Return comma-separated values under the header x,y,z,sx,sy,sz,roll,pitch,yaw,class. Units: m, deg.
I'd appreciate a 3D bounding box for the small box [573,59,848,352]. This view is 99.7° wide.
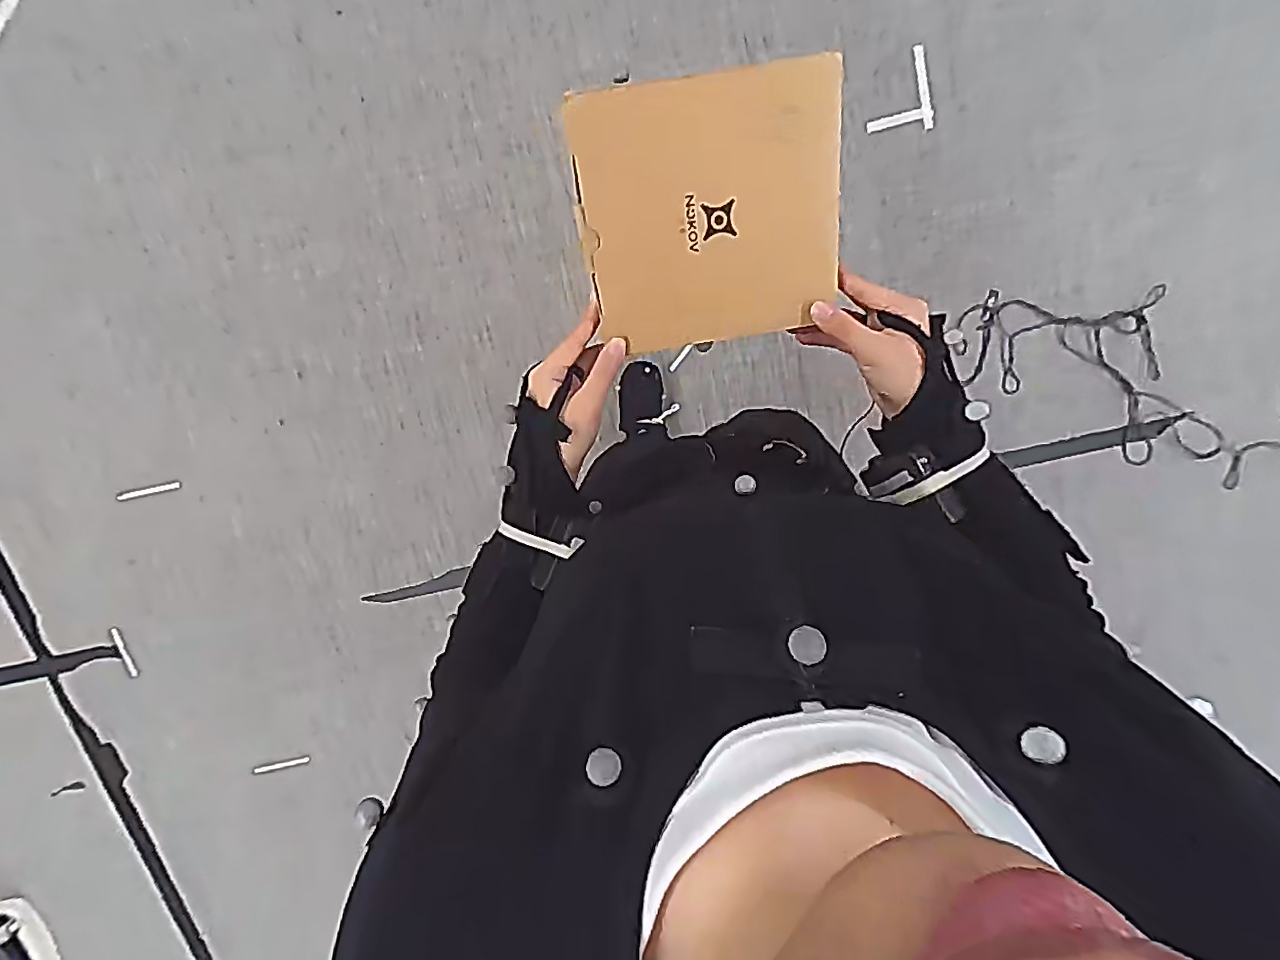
x,y,z,sx,sy,sz,roll,pitch,yaw,class
0.047,-0.217,0.440,0.179,0.176,0.168,-8,119,1,small box
